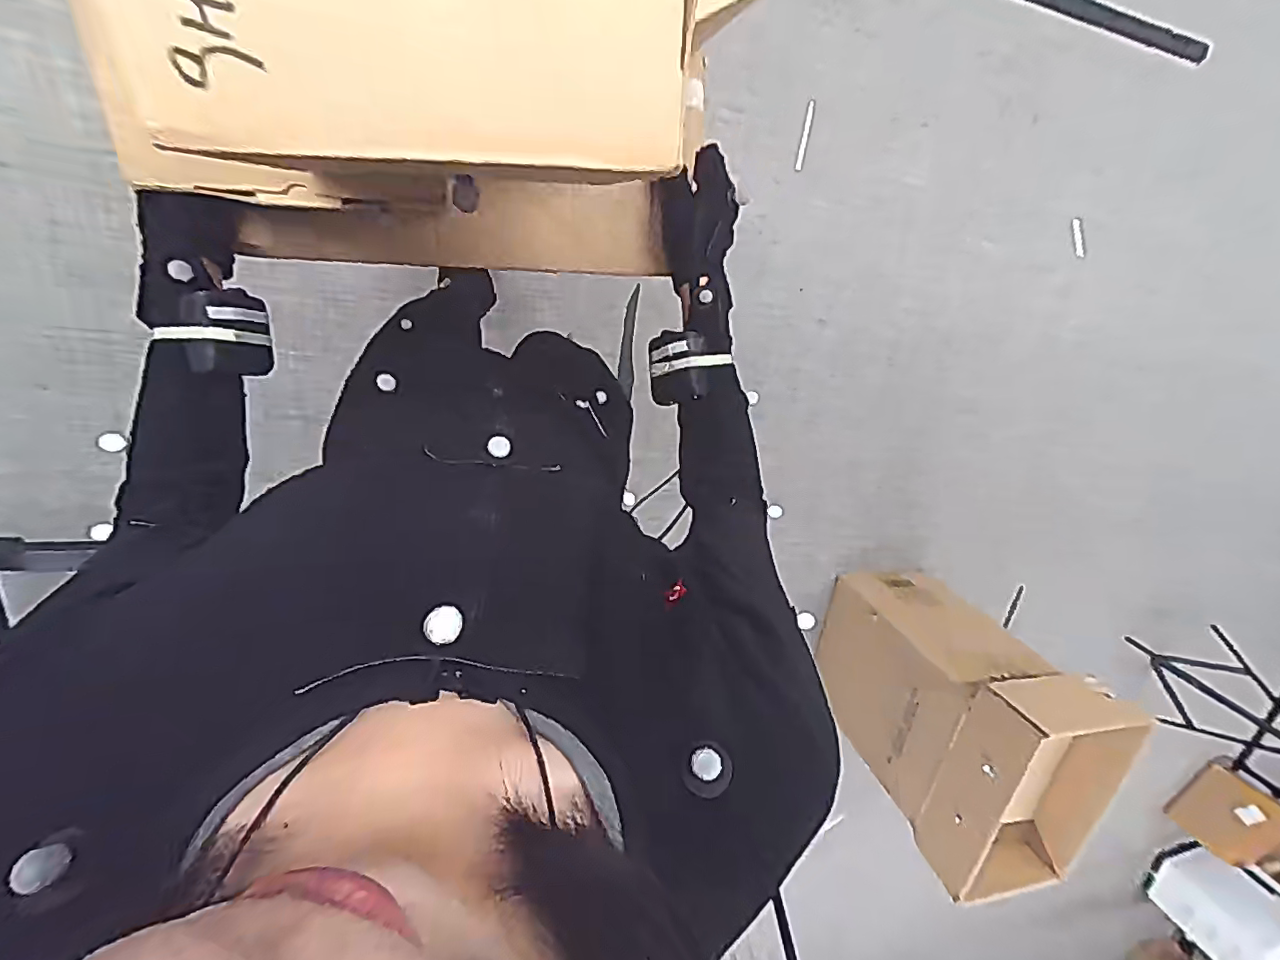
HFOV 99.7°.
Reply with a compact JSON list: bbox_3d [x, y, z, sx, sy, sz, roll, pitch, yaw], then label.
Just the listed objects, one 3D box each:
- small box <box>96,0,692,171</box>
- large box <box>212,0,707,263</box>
[{"bbox_3d":[-0.084,-0.224,0.215,0.179,0.176,0.168,-4,117,-13],"label":"small box"},{"bbox_3d":[-0.177,-0.410,0.566,0.408,0.320,0.320,-4,118,-15],"label":"large box"}]
